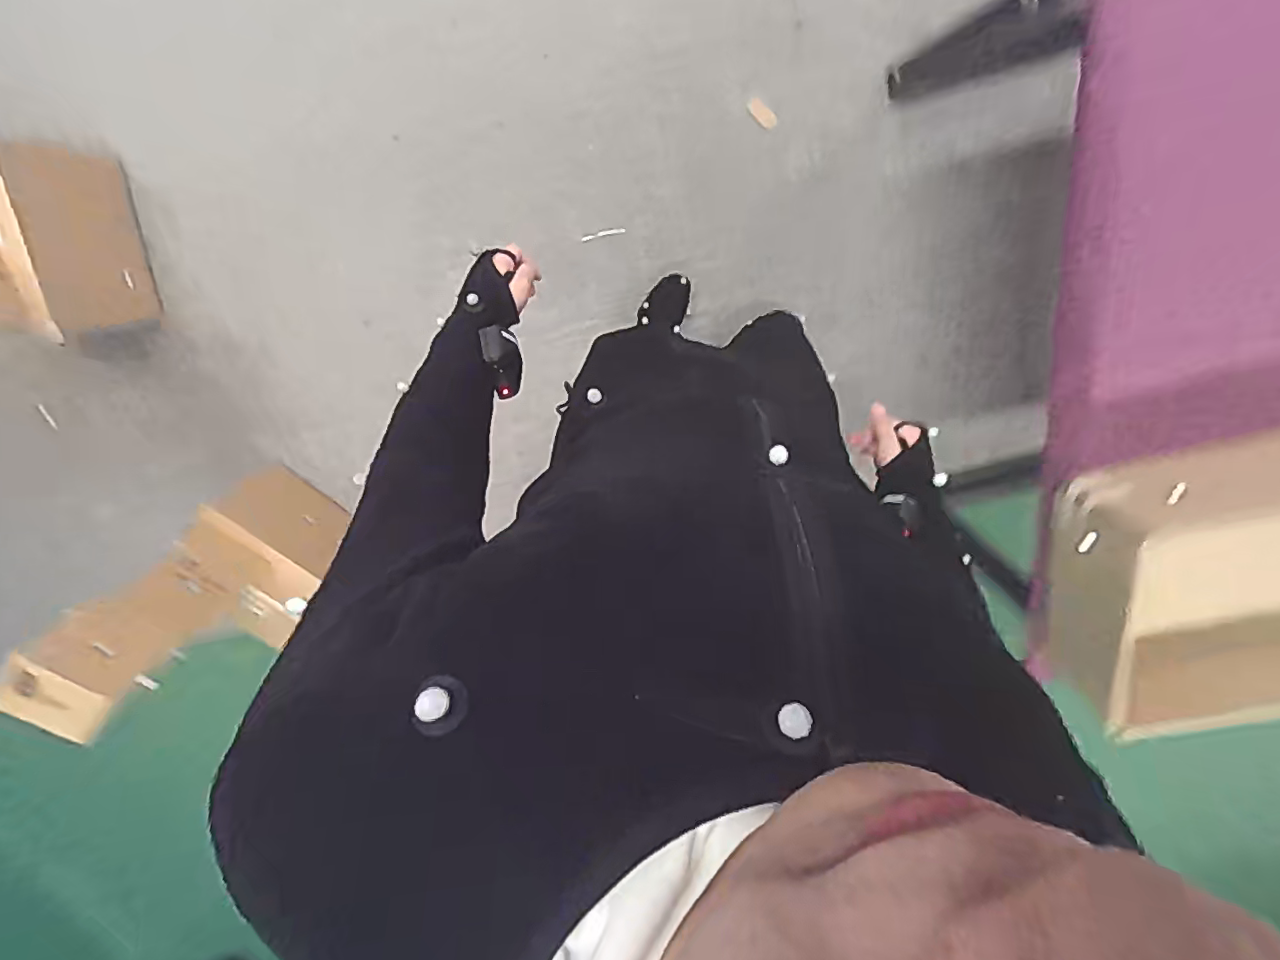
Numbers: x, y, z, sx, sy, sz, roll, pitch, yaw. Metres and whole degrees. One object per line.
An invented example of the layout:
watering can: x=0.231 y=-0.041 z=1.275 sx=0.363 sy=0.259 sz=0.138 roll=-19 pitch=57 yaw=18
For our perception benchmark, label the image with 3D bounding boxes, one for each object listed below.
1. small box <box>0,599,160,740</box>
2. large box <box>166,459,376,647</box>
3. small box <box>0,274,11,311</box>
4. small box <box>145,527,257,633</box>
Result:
small box: x=-1.126 y=0.364 z=1.068 sx=0.179 sy=0.176 sz=0.168 roll=41 pitch=107 yaw=-19
large box: x=-1.107 y=0.210 z=1.626 sx=0.320 sy=0.320 sz=0.408 roll=-42 pitch=109 yaw=18
small box: x=-1.443 y=-0.414 z=1.080 sx=0.179 sy=0.176 sz=0.168 roll=-2 pitch=113 yaw=-1
small box: x=-1.135 y=0.243 z=1.371 sx=0.179 sy=0.176 sz=0.168 roll=42 pitch=107 yaw=-17
